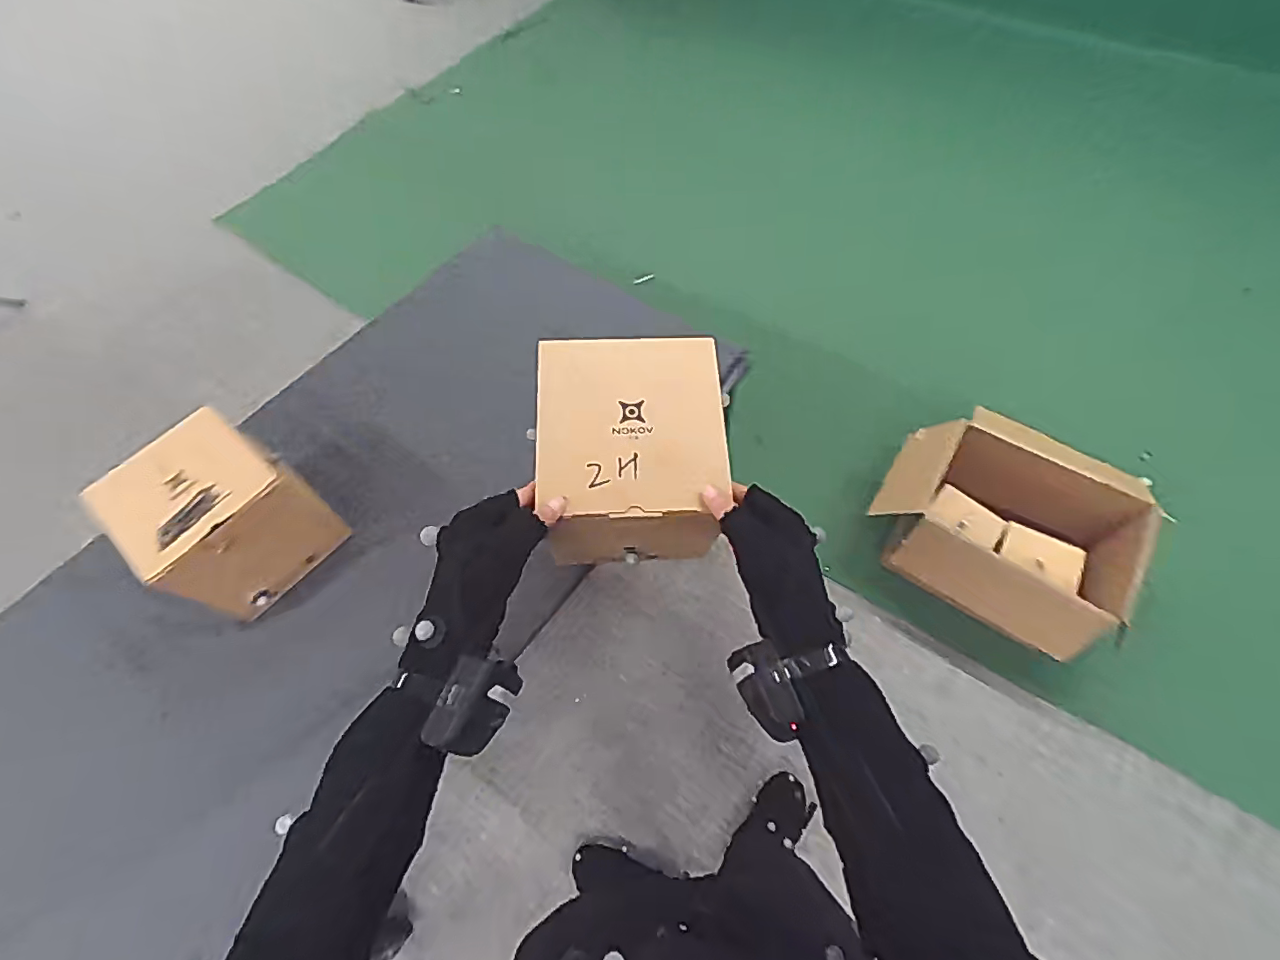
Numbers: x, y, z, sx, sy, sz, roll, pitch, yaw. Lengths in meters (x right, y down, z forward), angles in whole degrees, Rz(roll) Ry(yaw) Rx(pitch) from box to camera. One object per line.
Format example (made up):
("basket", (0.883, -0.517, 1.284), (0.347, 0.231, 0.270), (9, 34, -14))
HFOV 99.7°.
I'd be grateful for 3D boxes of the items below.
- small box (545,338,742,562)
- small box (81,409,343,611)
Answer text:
("small box", (-0.003, -0.022, 0.548), (0.168, 0.176, 0.179), (-1, 68, -3))
("small box", (-0.533, 0.049, 0.699), (0.179, 0.176, 0.168), (35, 69, 20))
